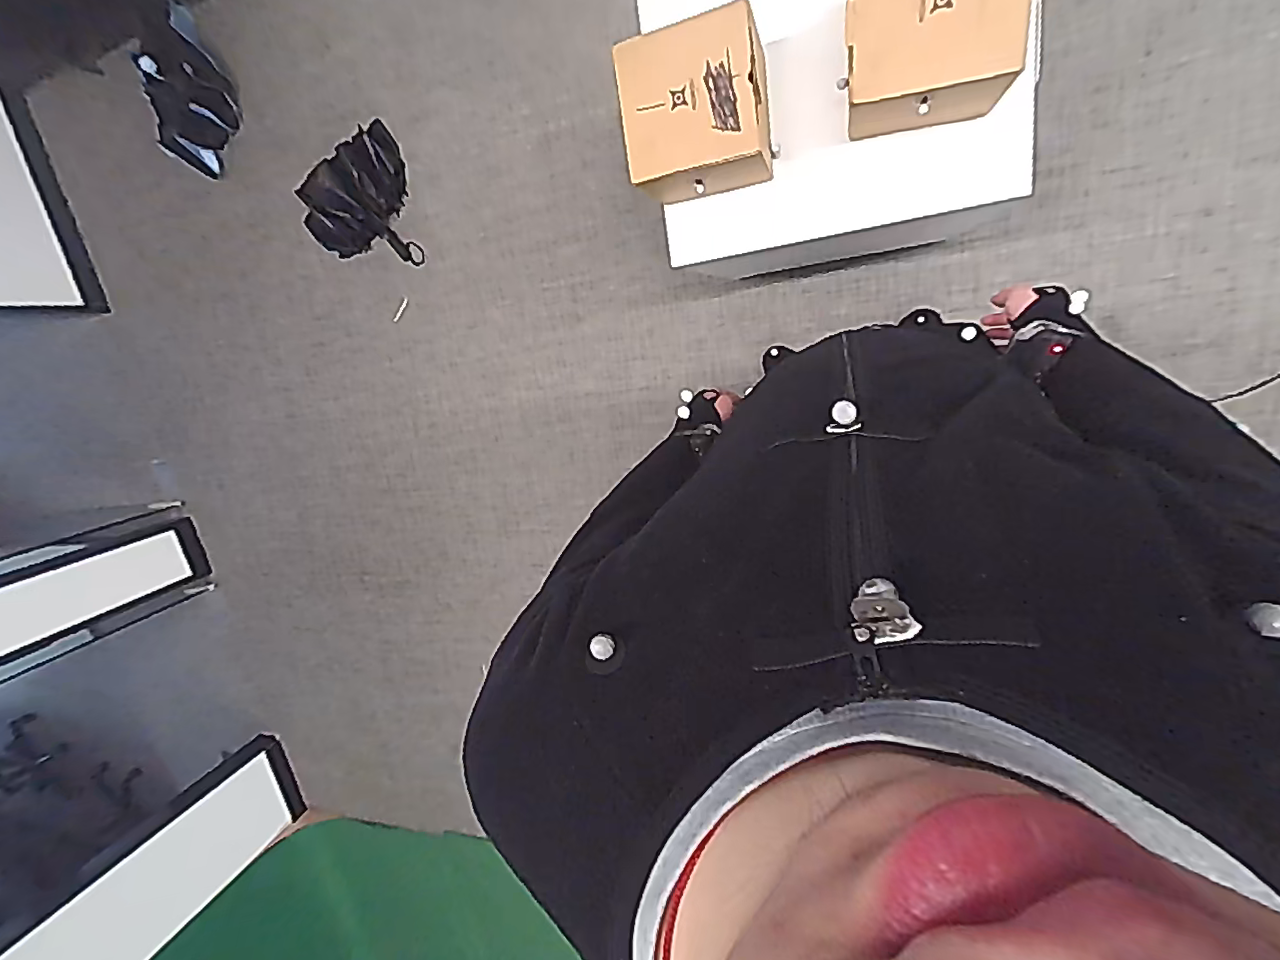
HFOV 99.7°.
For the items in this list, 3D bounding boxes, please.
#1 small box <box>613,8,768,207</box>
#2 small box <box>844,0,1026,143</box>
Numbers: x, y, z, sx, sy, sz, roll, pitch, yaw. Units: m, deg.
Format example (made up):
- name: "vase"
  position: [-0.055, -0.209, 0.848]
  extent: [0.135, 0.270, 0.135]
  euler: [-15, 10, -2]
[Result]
- name: "small box"
  position: [0.082, -0.499, 0.757]
  extent: [0.179, 0.176, 0.168]
  euler: [-2, 105, 21]
- name: "small box"
  position: [0.343, -0.531, 0.654]
  extent: [0.179, 0.176, 0.168]
  euler: [1, 109, 20]
